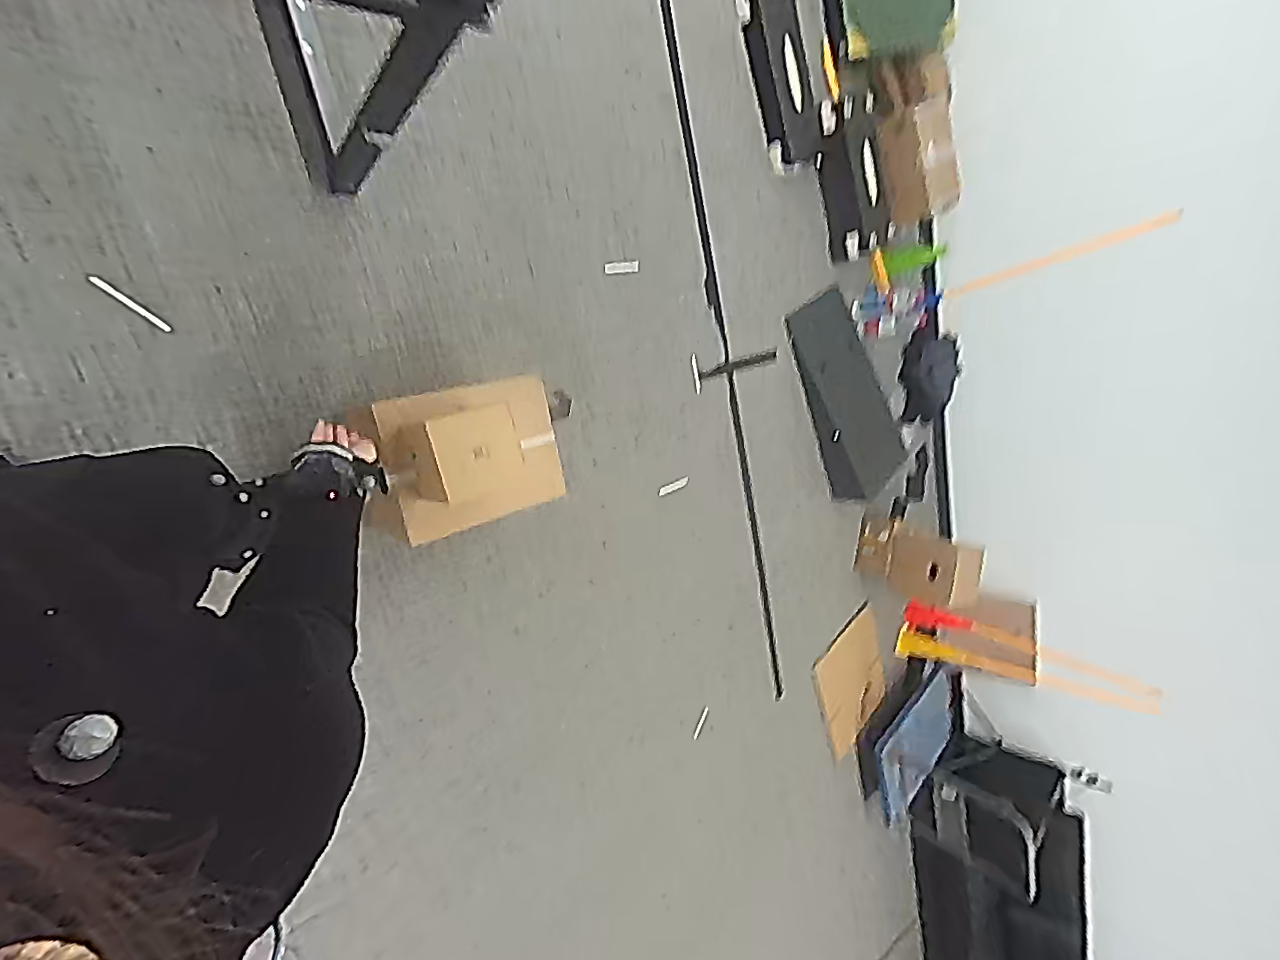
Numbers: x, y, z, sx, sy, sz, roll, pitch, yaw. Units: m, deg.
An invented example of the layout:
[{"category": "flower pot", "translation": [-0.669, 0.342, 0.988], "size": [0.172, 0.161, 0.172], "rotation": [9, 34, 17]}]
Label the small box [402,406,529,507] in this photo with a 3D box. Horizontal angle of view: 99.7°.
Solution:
[{"category": "small box", "translation": [-0.359, -0.053, 1.112], "size": [0.179, 0.176, 0.168], "rotation": [-21, 105, -37]}]

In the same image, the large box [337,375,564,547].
[{"category": "large box", "translation": [-0.464, -0.063, 1.344], "size": [0.408, 0.320, 0.320], "rotation": [-21, 107, -39]}]
